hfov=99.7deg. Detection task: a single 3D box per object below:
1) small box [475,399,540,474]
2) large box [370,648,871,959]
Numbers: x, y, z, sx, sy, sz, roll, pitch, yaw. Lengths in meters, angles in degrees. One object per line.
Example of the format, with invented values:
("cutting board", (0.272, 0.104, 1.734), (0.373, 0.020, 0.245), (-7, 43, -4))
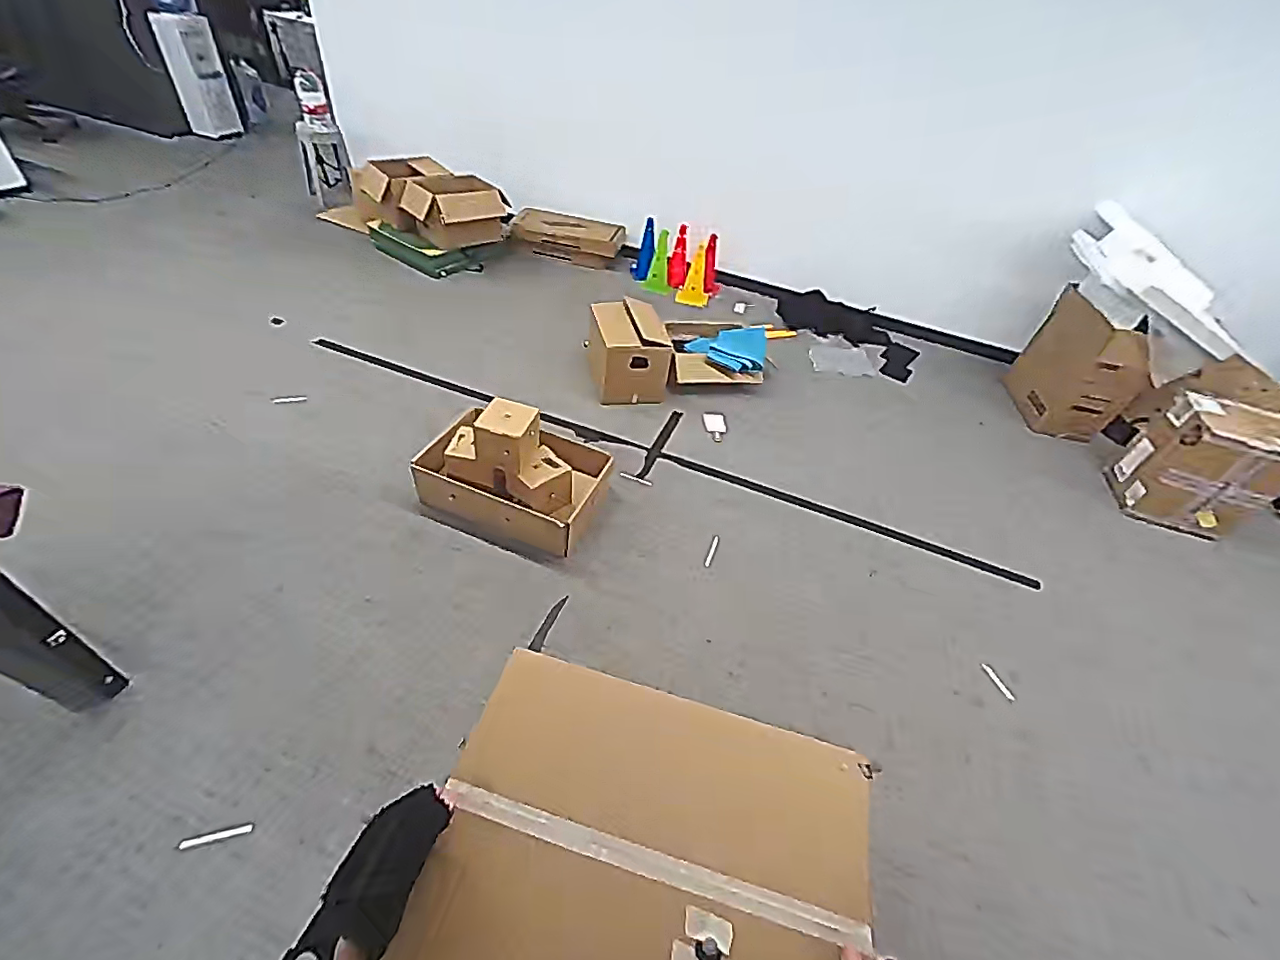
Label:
("small box", (-0.451, -0.147, 1.866), (0.168, 0.176, 0.179), (15, 42, 4))
("large box", (-0.003, 0.441, 0.598), (0.408, 0.320, 0.320), (14, 47, 8))
